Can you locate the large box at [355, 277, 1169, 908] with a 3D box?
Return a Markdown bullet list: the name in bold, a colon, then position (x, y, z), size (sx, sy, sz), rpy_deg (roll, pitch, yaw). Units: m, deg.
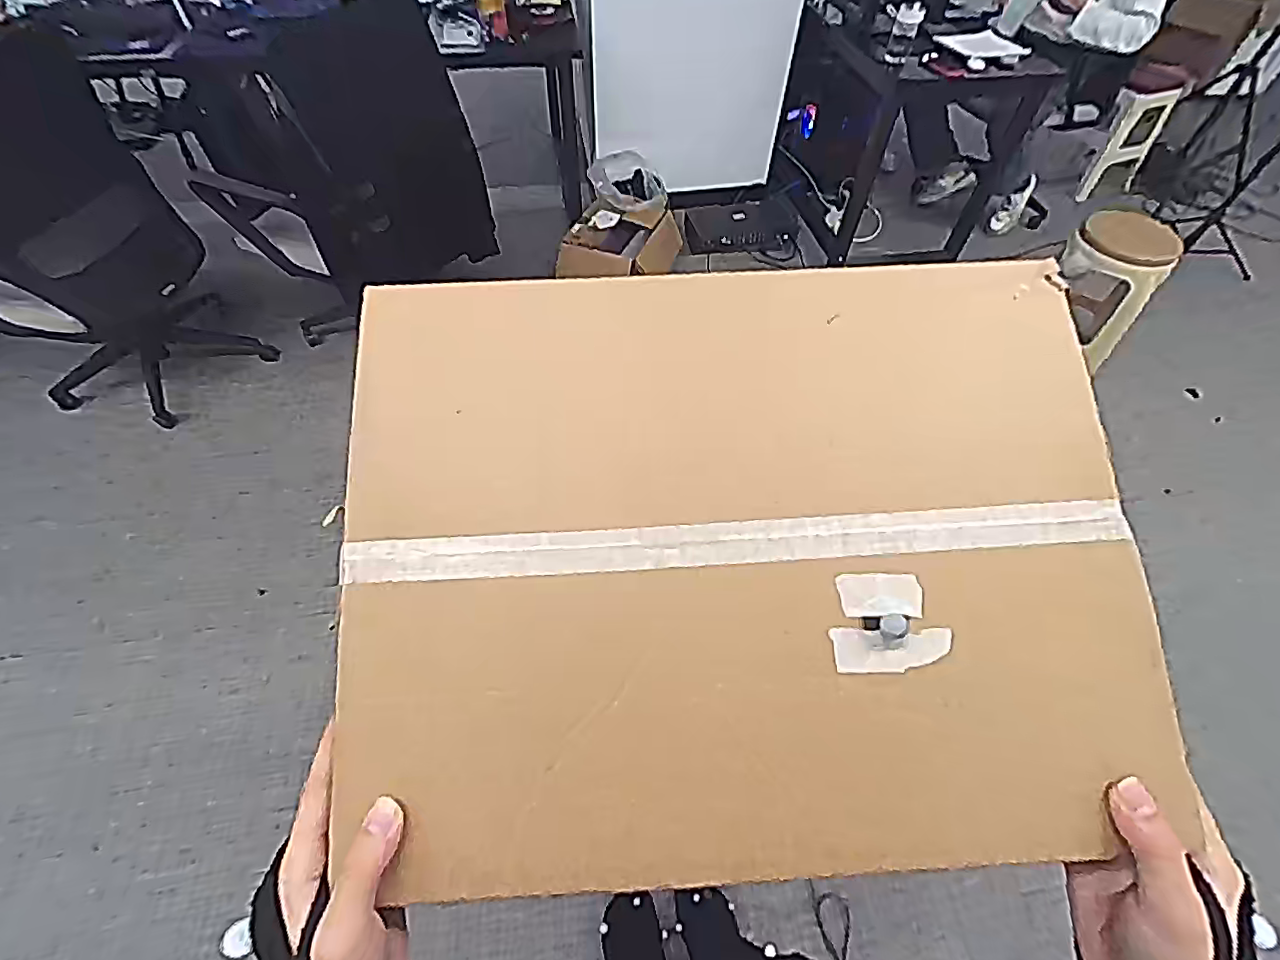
- **large box**: position (0.048, 0.070, 0.435), size (0.408, 0.320, 0.320), rpy_deg (-3, 78, -2)
